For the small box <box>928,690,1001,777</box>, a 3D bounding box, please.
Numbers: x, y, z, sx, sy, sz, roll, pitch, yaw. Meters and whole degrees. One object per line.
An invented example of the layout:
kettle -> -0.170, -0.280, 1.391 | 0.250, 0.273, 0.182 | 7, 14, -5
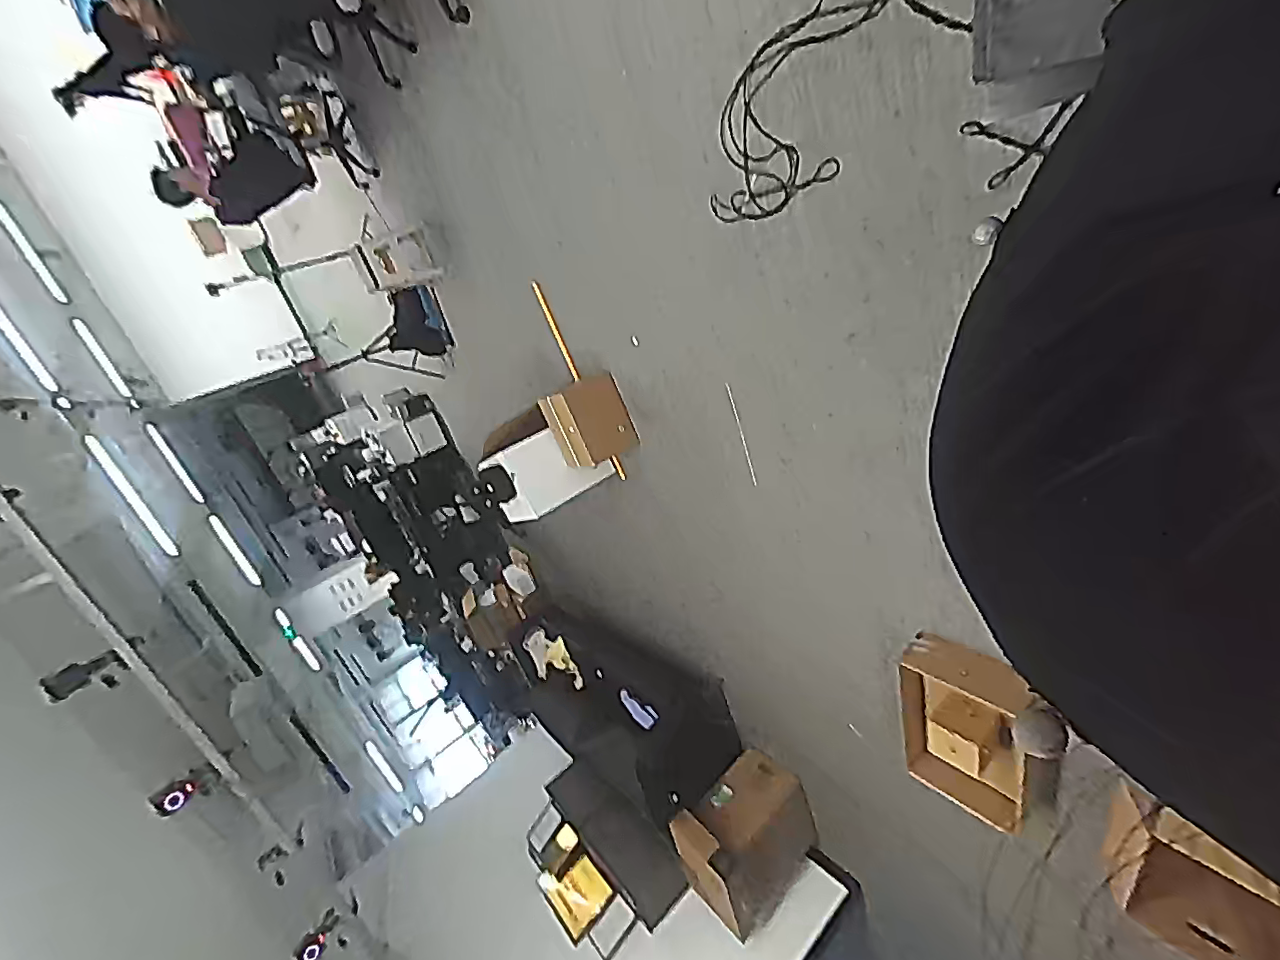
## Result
small box -> 1.137, 0.879, 1.890 | 0.168, 0.176, 0.179 | 18, 132, 52
